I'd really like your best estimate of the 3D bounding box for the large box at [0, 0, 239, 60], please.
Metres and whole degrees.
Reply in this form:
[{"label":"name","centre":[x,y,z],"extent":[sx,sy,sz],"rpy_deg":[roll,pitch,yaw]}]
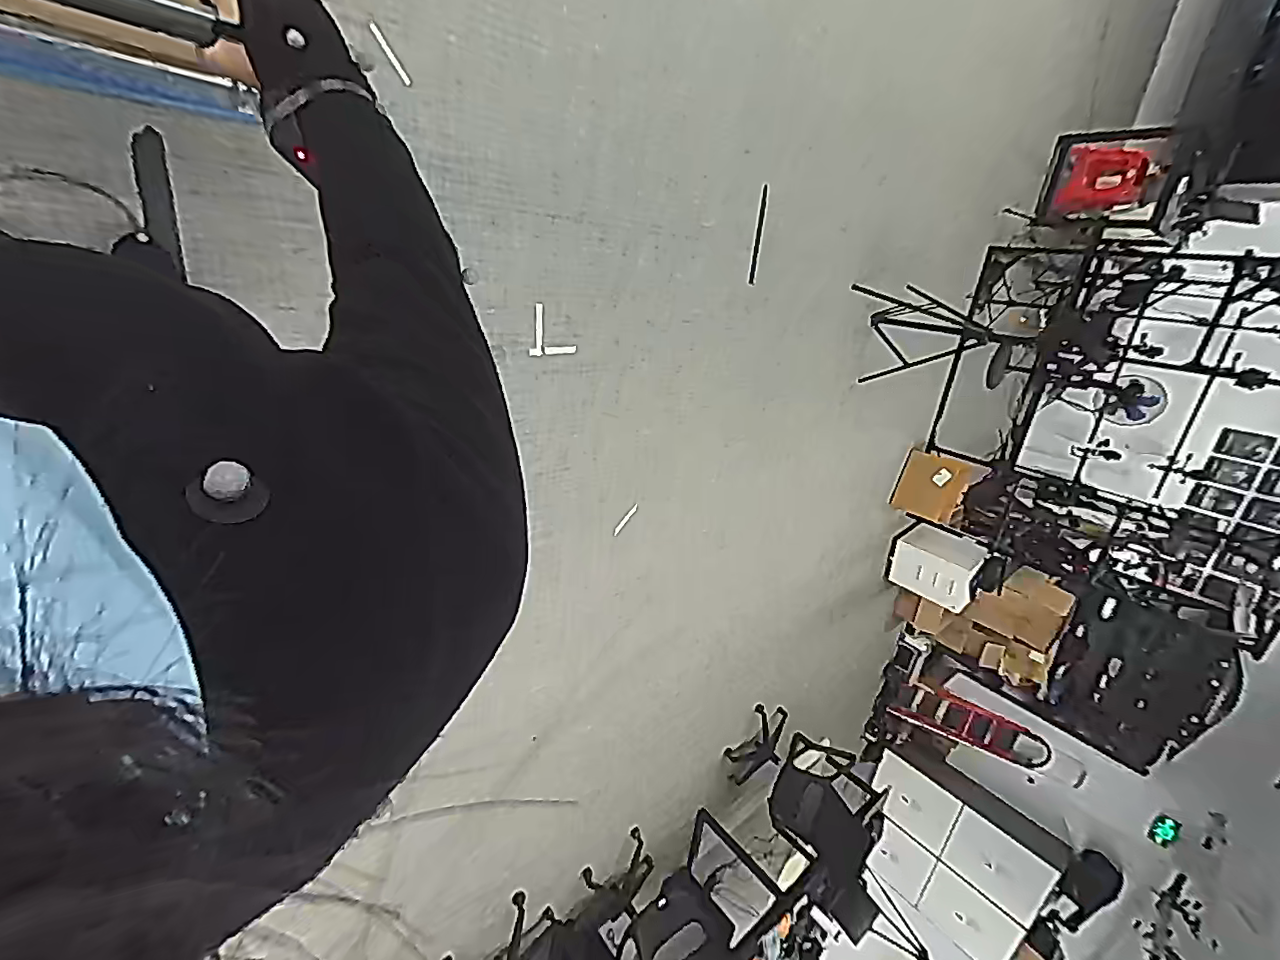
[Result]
[{"label":"large box","centre":[-0.766,-0.768,0.638],"extent":[0.408,0.320,0.320],"rpy_deg":[-12,119,-42]}]
